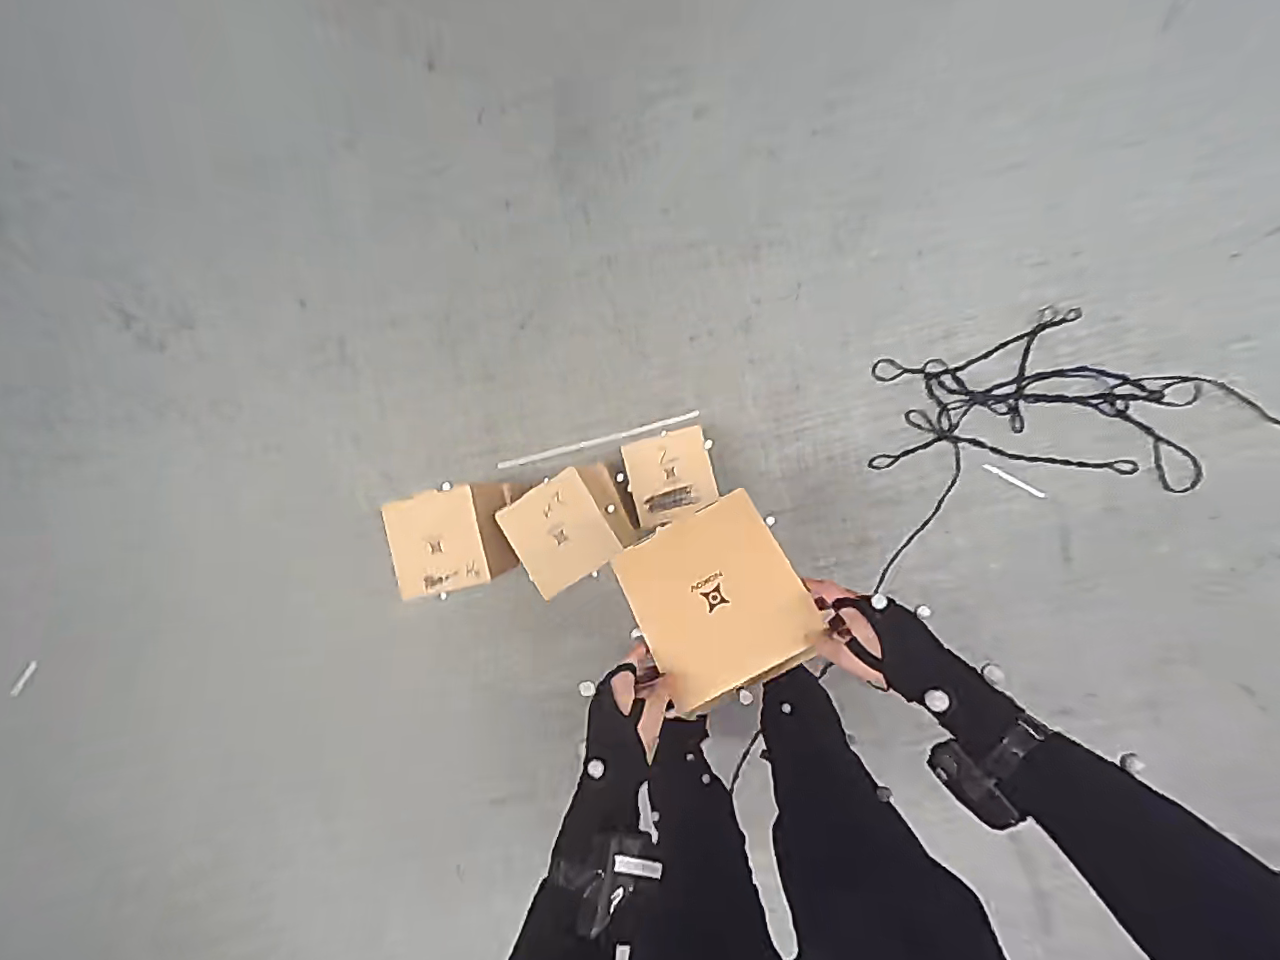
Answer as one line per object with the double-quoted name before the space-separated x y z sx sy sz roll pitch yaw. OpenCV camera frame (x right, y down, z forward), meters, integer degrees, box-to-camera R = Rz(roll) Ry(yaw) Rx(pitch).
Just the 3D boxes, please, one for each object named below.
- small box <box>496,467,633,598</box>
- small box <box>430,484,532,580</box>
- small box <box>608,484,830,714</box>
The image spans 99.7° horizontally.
"small box" -0.128 0.088 0.997 0.168 0.176 0.179 -32 87 5
"small box" -0.322 0.106 1.177 0.179 0.176 0.168 -14 88 6
"small box" 0.091 0.139 0.601 0.168 0.176 0.179 -28 62 3
